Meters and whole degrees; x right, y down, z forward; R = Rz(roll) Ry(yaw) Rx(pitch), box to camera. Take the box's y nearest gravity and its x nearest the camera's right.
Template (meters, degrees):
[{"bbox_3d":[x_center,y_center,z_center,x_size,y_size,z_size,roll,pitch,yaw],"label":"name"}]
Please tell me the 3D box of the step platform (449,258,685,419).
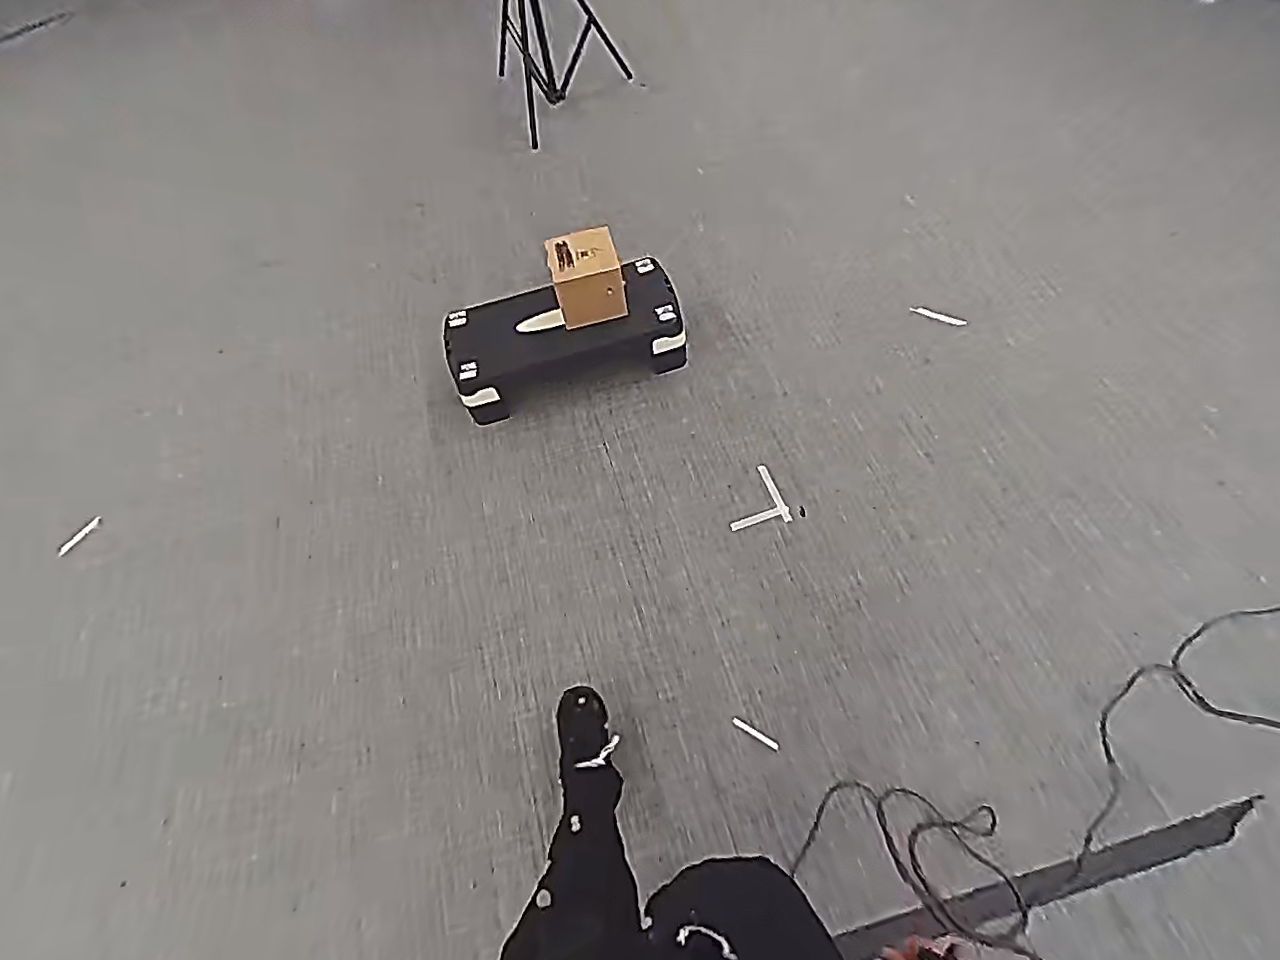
[{"bbox_3d":[-0.215,-0.426,1.619,0.684,0.204,0.286,-18,62,-3],"label":"step platform"}]
